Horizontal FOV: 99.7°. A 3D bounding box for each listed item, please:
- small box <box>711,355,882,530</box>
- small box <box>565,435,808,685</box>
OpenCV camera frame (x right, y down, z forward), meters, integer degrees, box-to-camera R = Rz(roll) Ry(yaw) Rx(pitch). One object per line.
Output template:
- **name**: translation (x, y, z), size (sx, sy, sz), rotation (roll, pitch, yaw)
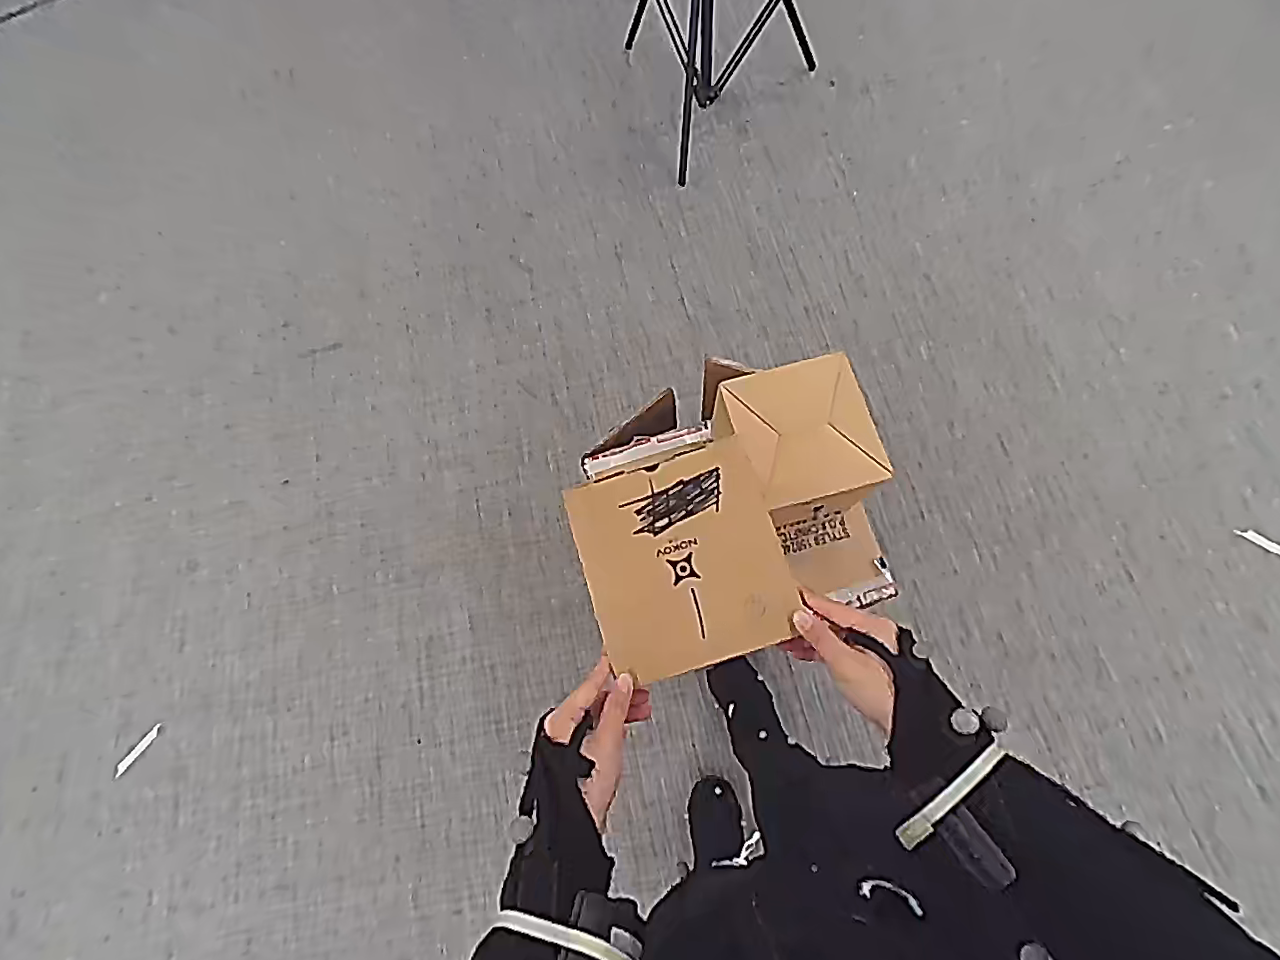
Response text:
- **small box**: translation (0.203, -0.039, 0.736), size (0.168, 0.176, 0.179), rotation (-15, 74, -1)
- **small box**: translation (0.039, 0.080, 0.531), size (0.168, 0.176, 0.179), rotation (-18, 77, 1)
